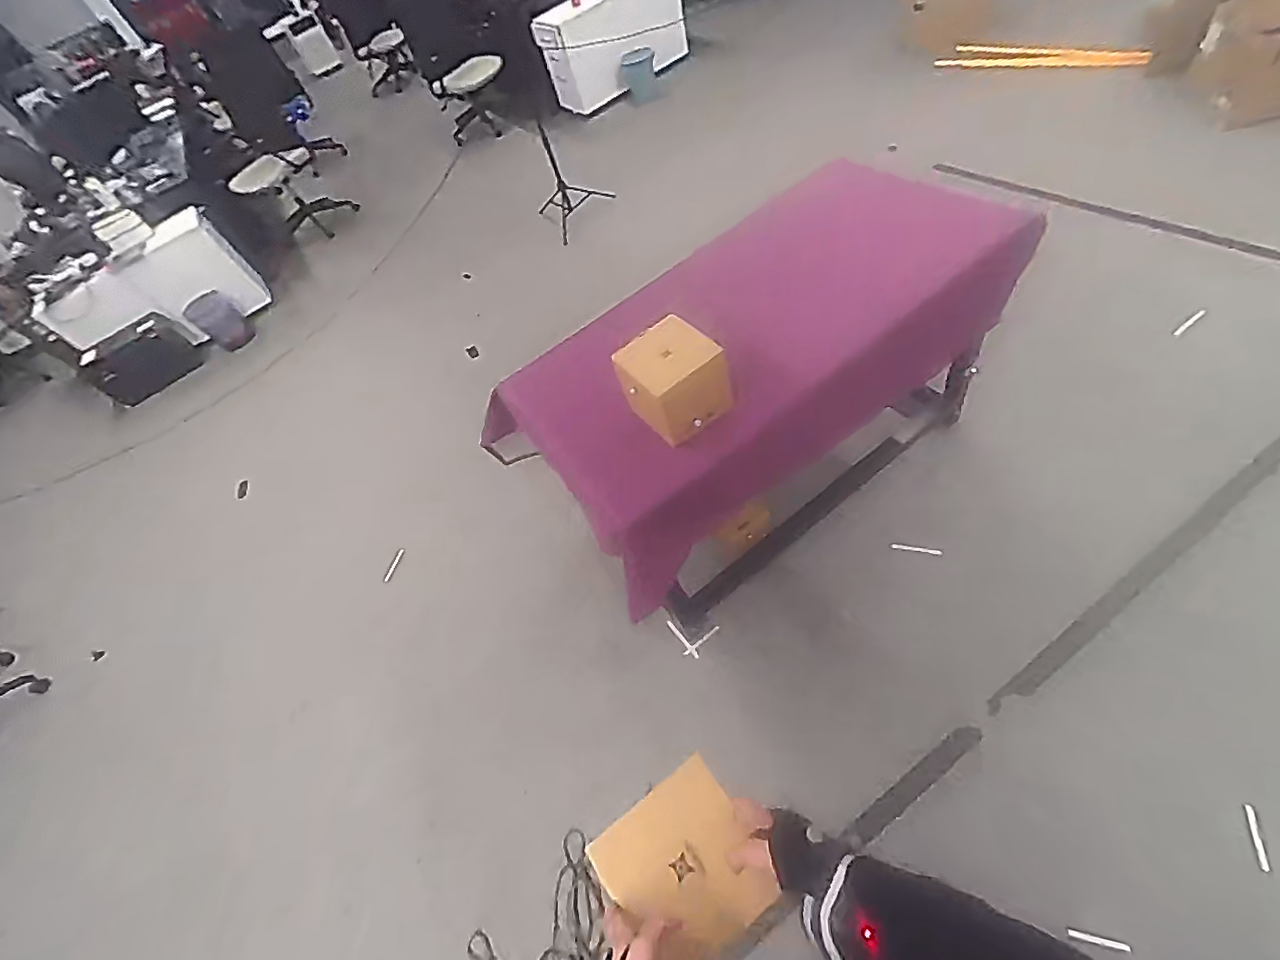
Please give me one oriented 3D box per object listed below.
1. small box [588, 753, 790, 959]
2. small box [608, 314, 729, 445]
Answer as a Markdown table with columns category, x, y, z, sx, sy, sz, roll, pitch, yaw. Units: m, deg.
| category | x | y | z | sx | sy | sz | roll | pitch | yaw |
| --- | --- | --- | --- | --- | --- | --- | --- | --- | --- |
| small box | 0.064 | 0.481 | 0.677 | 0.179 | 0.176 | 0.168 | -34 | 58 | -14 |
| small box | 0.063 | -0.206 | 1.125 | 0.168 | 0.176 | 0.179 | -37 | 53 | -8 |
